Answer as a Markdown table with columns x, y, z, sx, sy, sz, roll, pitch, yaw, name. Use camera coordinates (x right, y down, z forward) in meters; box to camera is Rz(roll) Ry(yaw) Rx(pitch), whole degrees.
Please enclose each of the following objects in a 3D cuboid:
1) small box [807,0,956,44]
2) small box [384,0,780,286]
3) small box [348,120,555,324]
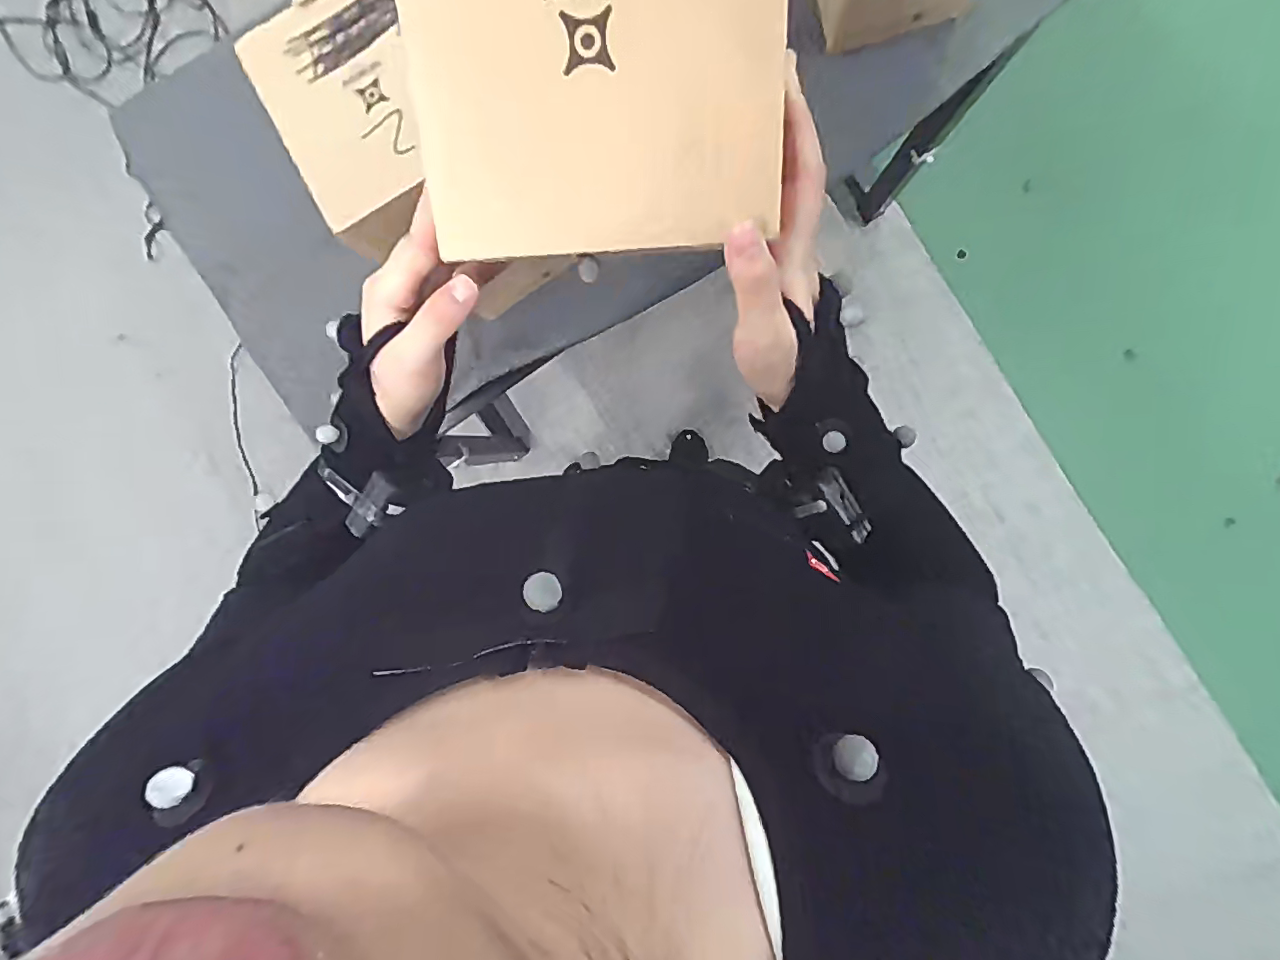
| x | y | z | sx | sy | sz | roll | pitch | yaw | name |
| --- | --- | --- | --- | --- | --- | --- | --- | --- | --- |
| 0.283 | -0.636 | 0.600 | 0.168 | 0.176 | 0.179 | -13 | 90 | 5 | small box |
| -0.015 | -0.207 | 0.298 | 0.168 | 0.176 | 0.179 | 0 | 112 | 7 | small box |
| -0.204 | -0.323 | 0.667 | 0.168 | 0.176 | 0.179 | -33 | 89 | 6 | small box |
